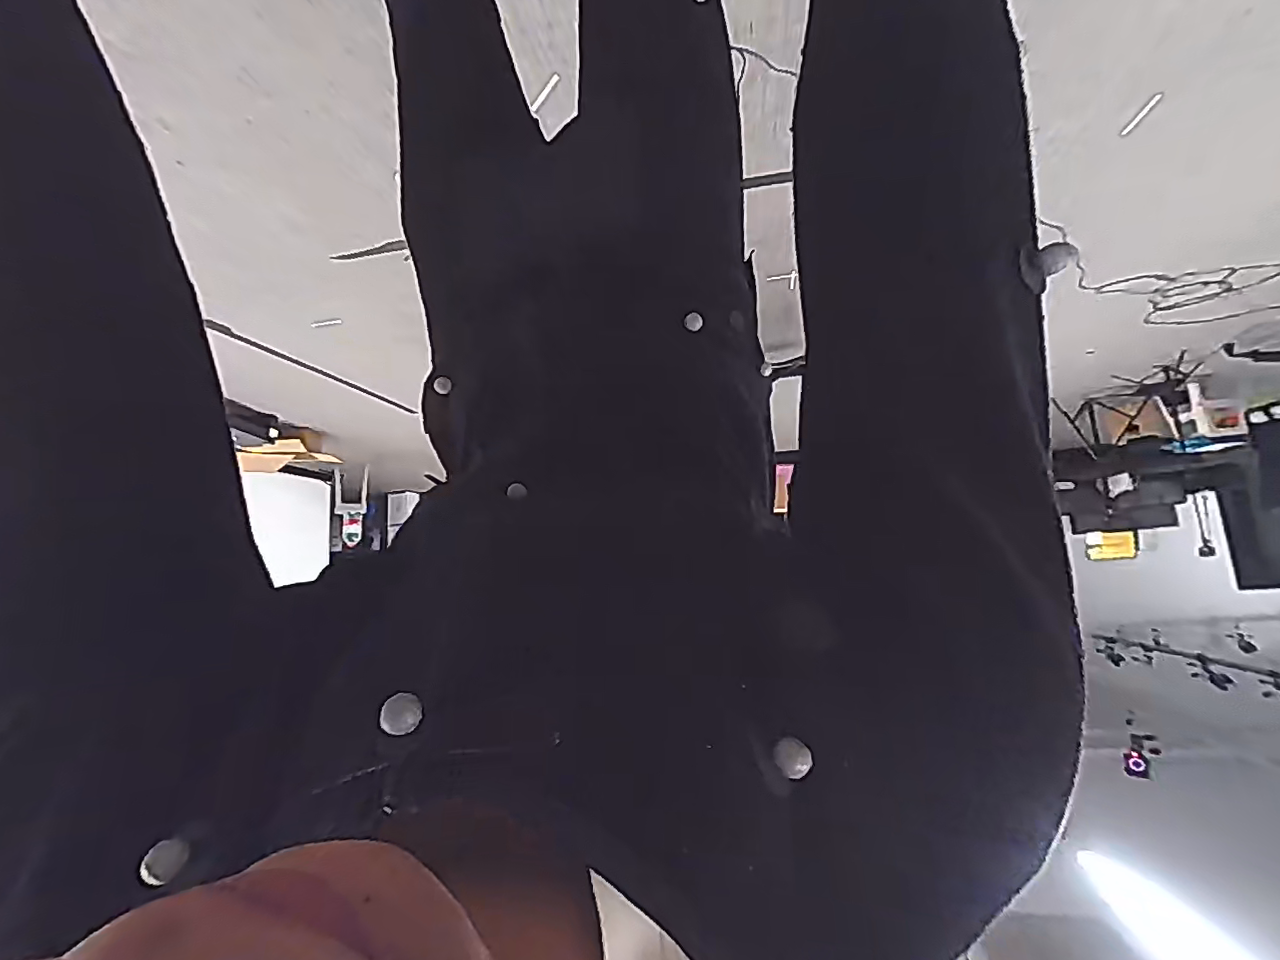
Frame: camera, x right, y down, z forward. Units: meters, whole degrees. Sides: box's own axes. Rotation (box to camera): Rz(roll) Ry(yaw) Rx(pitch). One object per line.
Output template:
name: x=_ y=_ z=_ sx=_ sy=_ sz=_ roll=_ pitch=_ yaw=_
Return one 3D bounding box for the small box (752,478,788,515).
small box: x=0.664 y=0.086 z=2.766 sx=0.168 sy=0.176 sz=0.179 roll=-6 pitch=170 yaw=13
